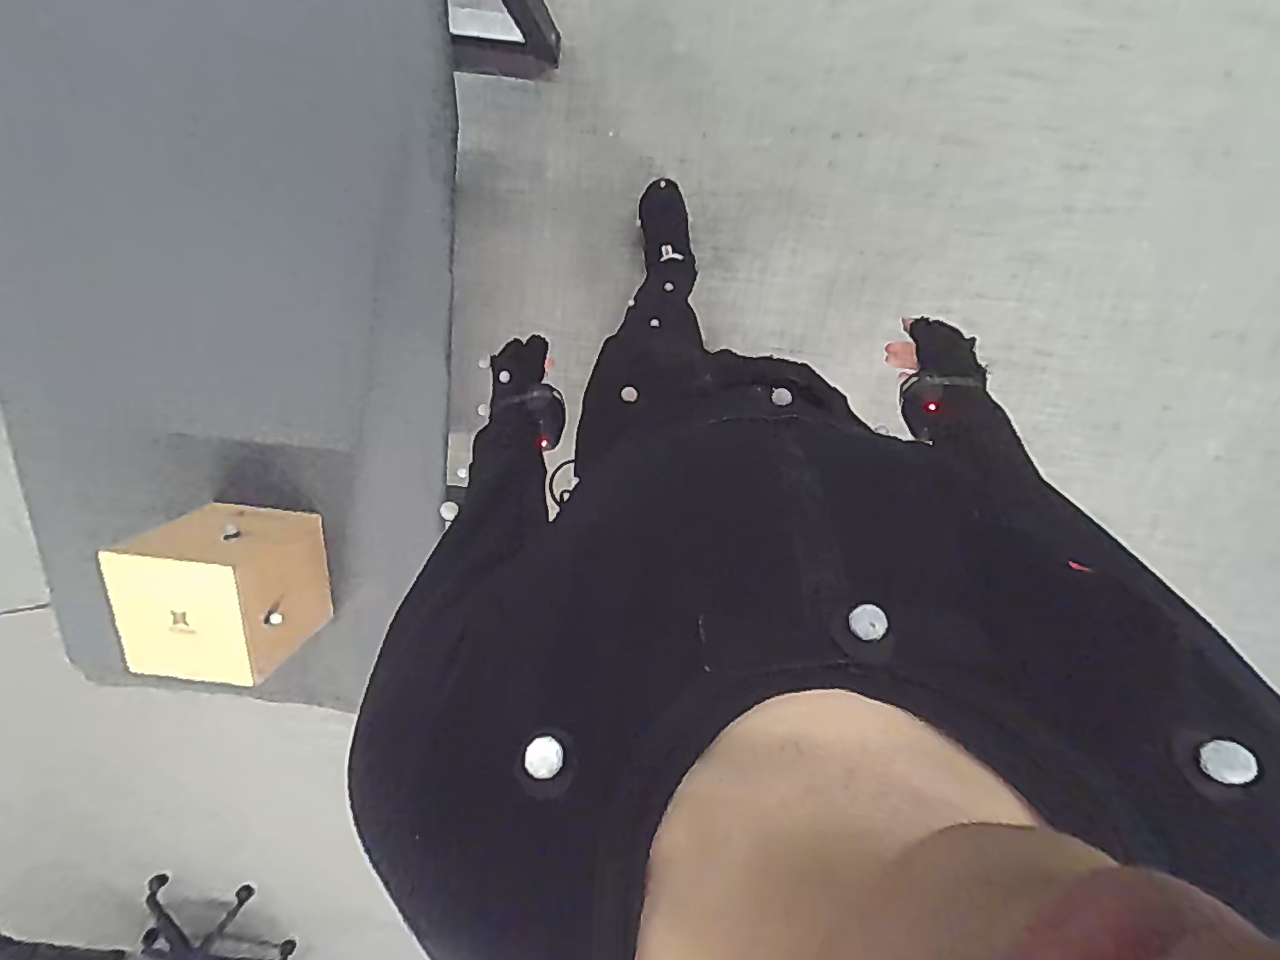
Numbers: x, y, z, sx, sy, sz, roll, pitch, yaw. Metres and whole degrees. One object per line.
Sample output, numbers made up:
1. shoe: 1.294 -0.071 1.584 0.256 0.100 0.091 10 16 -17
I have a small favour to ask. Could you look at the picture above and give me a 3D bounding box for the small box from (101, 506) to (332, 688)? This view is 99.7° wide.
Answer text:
1. small box: -0.550 0.147 0.731 0.168 0.176 0.179 6 110 2
